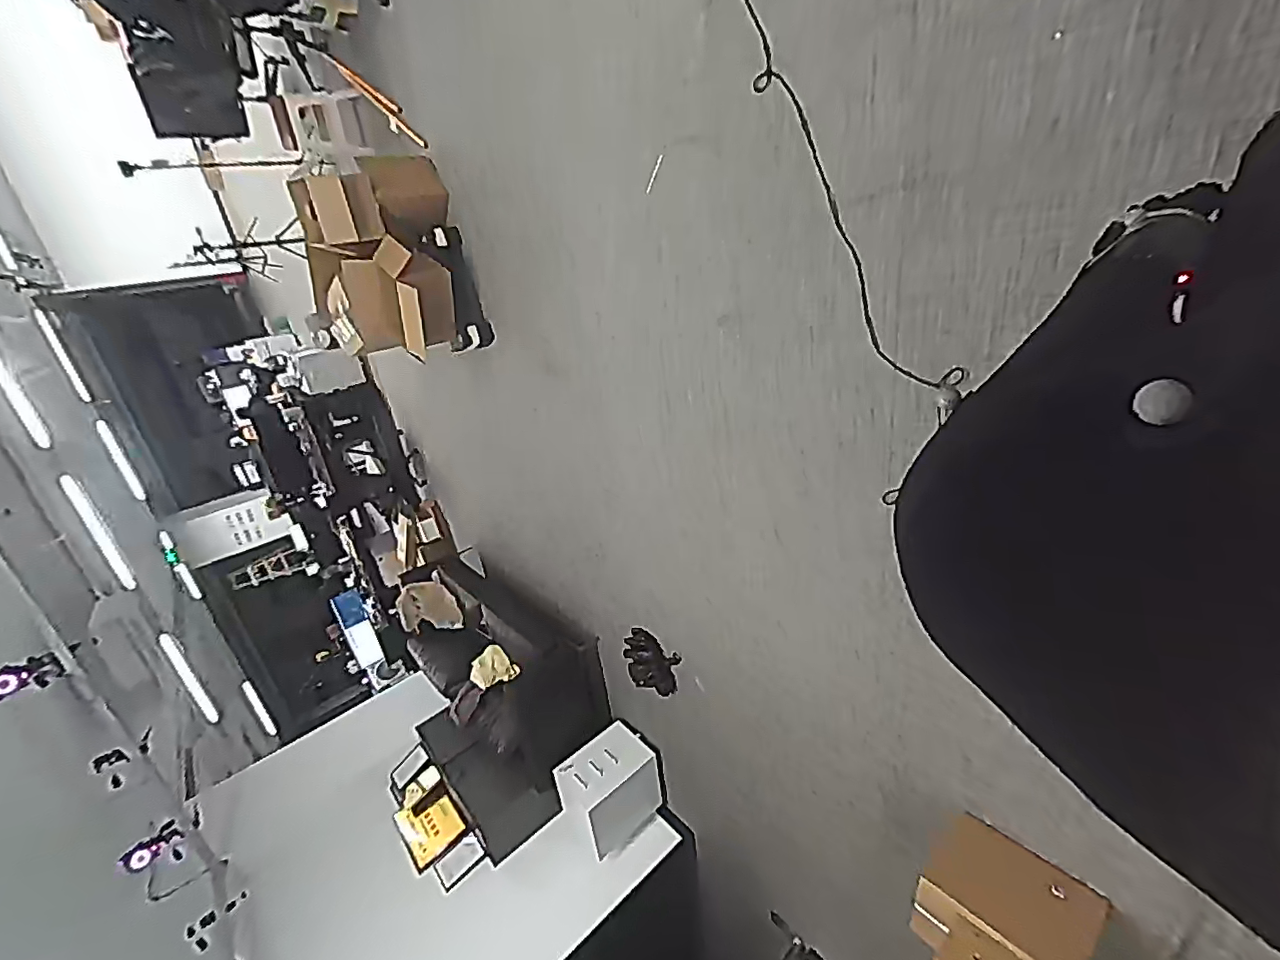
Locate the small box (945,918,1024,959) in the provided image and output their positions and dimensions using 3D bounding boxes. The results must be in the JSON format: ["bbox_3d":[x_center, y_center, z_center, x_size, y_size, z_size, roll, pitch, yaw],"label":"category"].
[{"bbox_3d":[0.979,1.412,1.532,0.168,0.176,0.179,15,121,49],"label":"small box"}]
